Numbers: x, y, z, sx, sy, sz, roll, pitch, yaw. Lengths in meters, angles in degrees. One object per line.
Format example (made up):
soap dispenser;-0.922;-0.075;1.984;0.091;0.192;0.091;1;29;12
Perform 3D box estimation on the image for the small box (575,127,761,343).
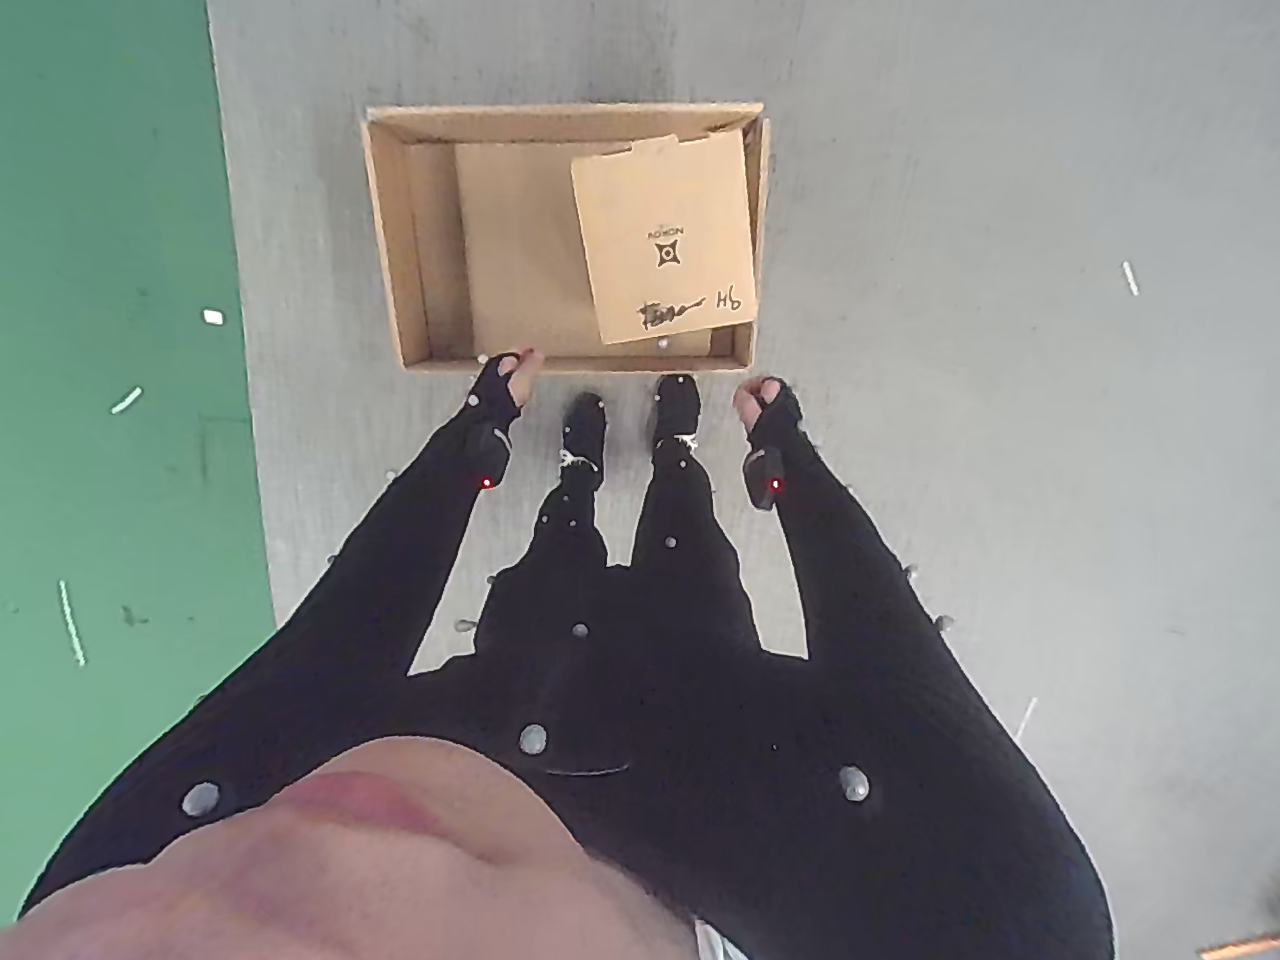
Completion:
small box;0.030;-0.255;0.595;0.168;0.176;0.179;-8;110;3
